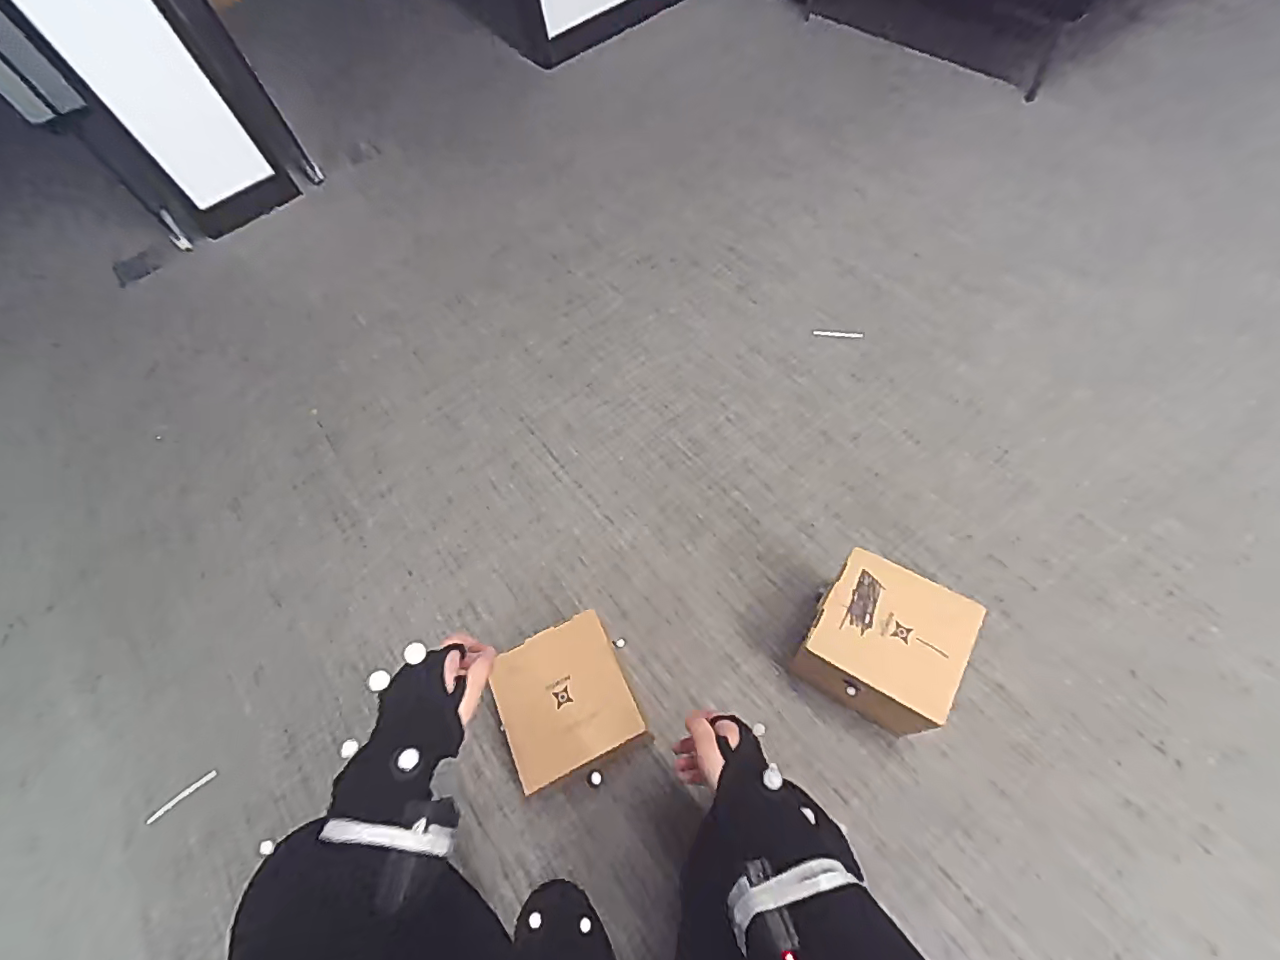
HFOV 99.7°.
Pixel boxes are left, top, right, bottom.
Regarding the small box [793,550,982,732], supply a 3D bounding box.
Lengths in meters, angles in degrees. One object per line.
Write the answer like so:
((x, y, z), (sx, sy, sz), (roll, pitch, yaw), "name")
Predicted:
((0.332, 0.232, 0.760), (0.179, 0.176, 0.168), (27, 67, 21), "small box")
